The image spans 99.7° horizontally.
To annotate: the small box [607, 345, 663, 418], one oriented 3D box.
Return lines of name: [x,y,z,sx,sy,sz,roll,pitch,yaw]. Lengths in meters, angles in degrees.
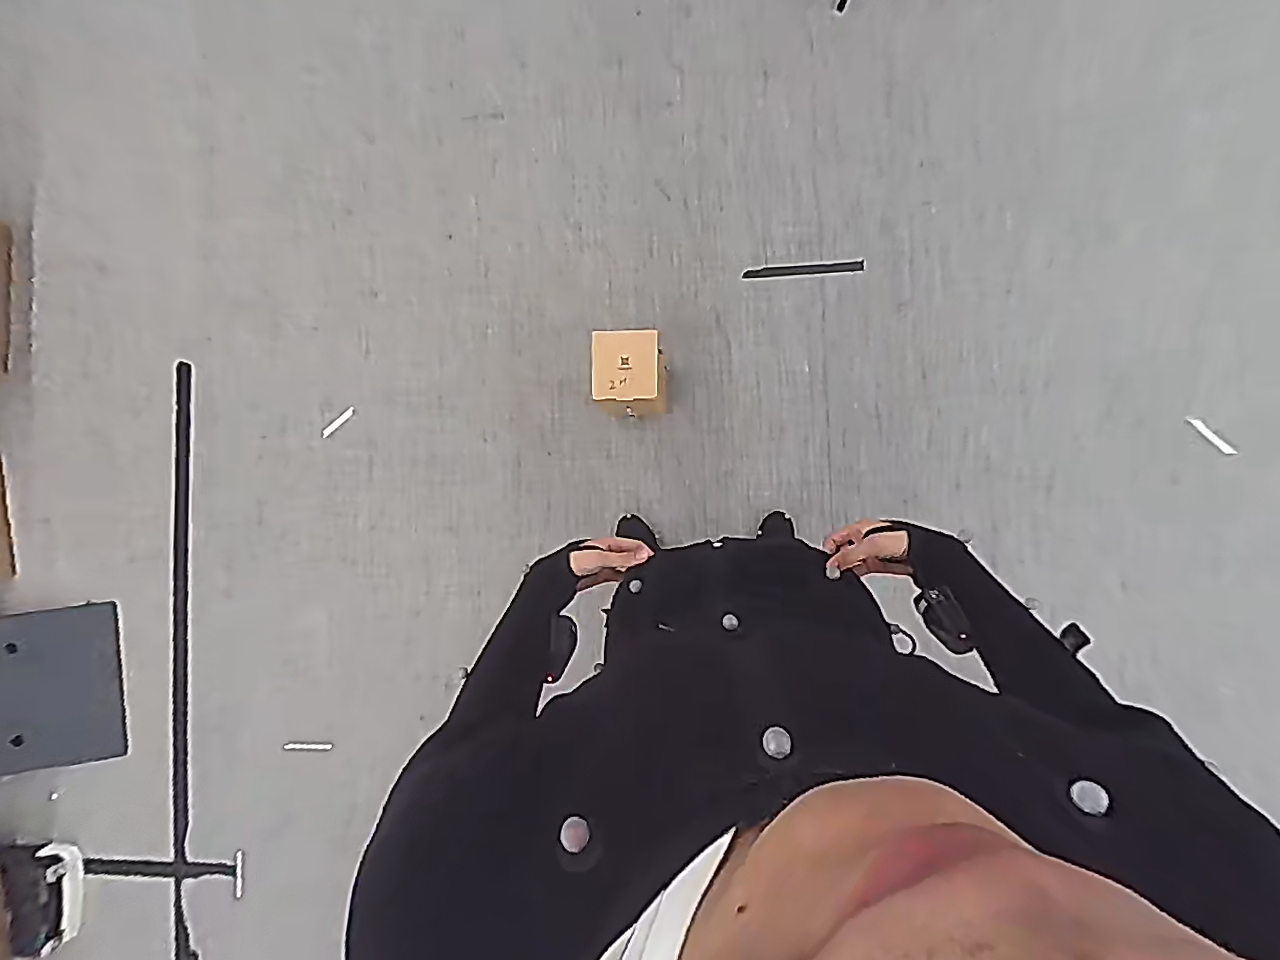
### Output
small box: [-0.019,-0.283,1.574,0.168,0.176,0.179,1,87,5]

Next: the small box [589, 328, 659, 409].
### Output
small box: [-0.038,-0.286,1.411,0.168,0.176,0.179,0,88,5]
